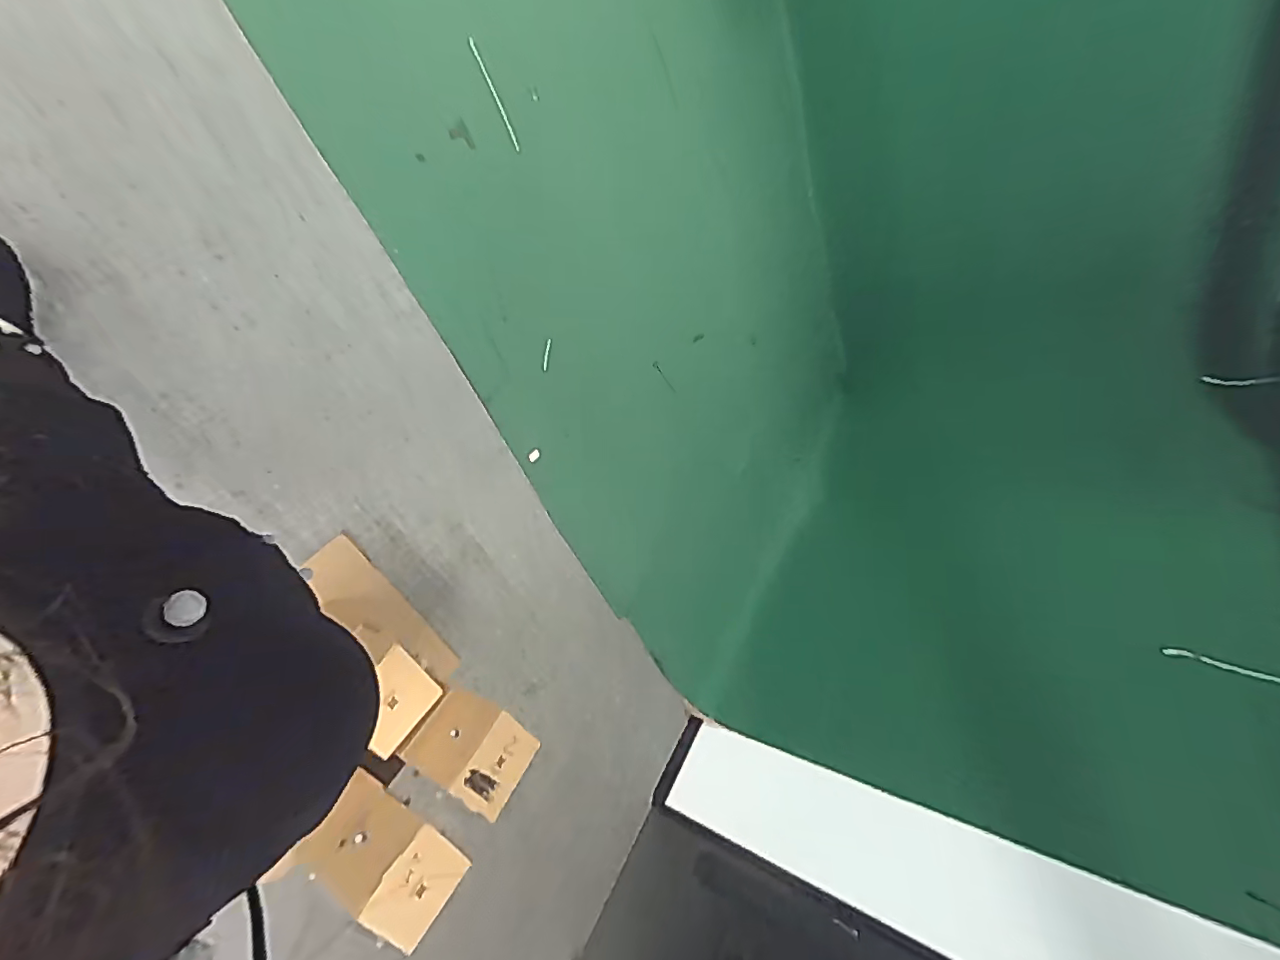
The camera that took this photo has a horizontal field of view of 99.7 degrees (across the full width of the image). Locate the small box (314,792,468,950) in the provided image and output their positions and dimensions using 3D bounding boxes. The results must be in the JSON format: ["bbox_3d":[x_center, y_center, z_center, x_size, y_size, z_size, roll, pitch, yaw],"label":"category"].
[{"bbox_3d":[-0.476,0.741,1.042,0.168,0.176,0.179,-51,131,-39],"label":"small box"}]

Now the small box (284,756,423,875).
[{"bbox_3d":[-0.610,0.728,1.142,0.179,0.176,0.168,-52,131,-39],"label":"small box"}]
